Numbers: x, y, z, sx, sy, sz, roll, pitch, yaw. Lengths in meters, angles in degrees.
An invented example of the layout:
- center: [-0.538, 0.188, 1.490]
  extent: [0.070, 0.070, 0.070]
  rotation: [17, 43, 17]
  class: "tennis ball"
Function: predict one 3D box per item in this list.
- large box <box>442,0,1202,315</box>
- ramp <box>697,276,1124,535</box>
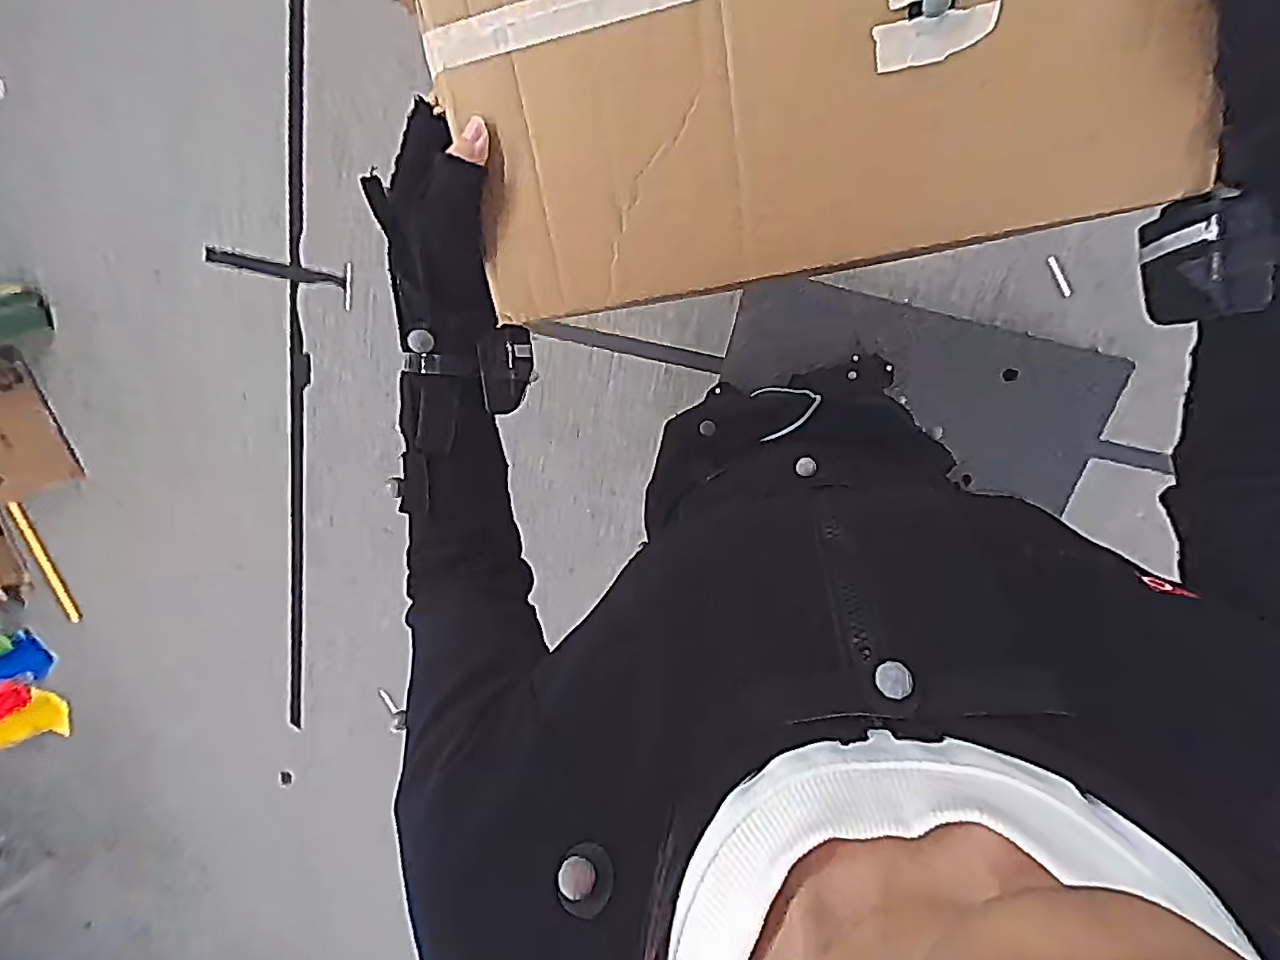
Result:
- center: [0.099, -0.328, 0.433]
  extent: [0.408, 0.320, 0.320]
  rotation: [-7, 108, 10]
  class: "large box"
- center: [0.686, -0.185, 1.401]
  extent: [0.991, 0.206, 0.509]
  rotation: [14, 105, 7]
  class: "ramp"
